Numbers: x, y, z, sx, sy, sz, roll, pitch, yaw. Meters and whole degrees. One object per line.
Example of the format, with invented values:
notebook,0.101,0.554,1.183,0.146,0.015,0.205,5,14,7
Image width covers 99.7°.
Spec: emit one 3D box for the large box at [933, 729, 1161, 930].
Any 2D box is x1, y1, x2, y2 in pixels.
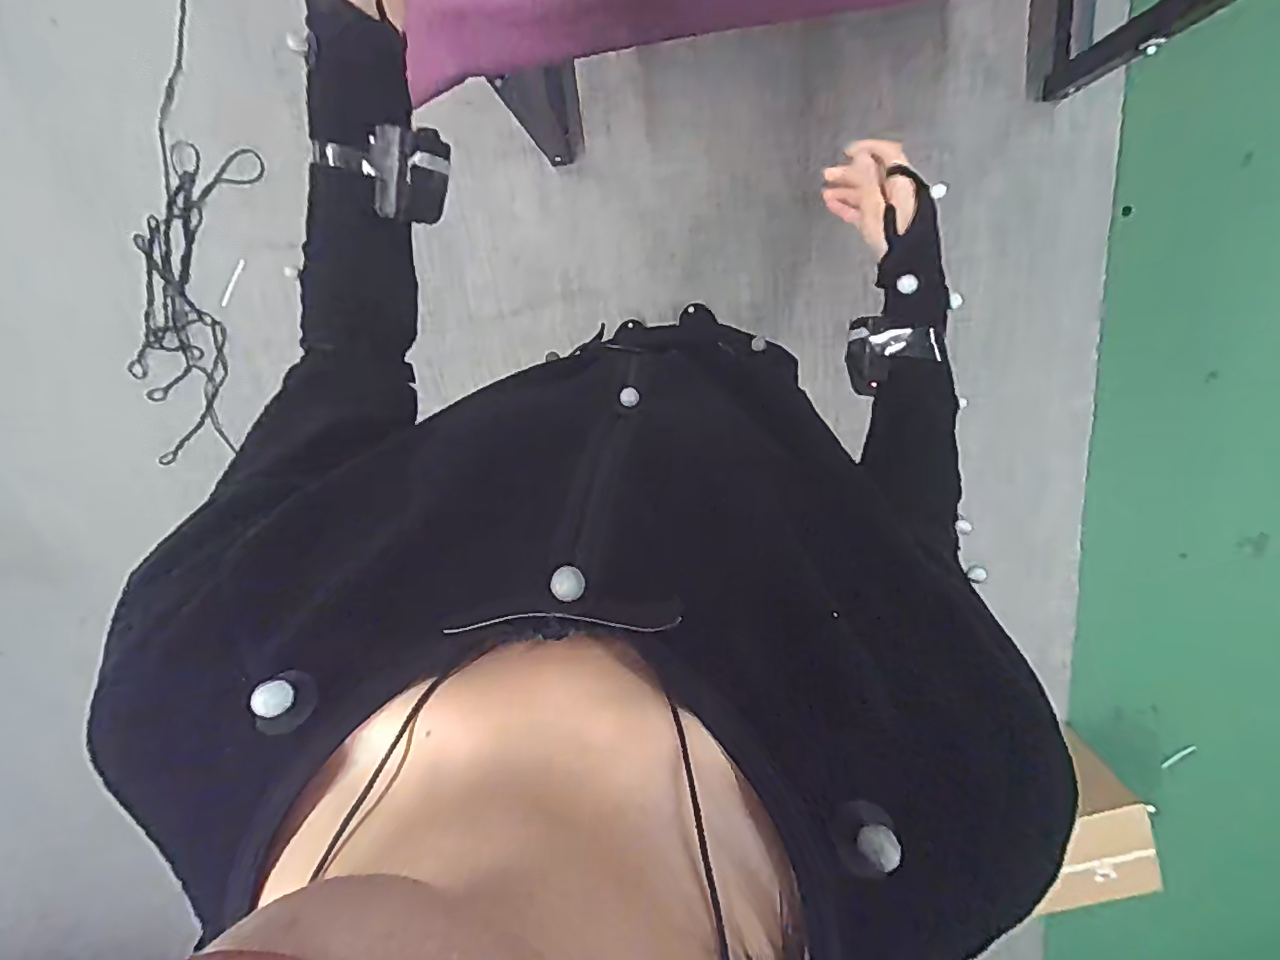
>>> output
large box,1.160,1.003,1.580,0.408,0.320,0.320,-20,104,7
